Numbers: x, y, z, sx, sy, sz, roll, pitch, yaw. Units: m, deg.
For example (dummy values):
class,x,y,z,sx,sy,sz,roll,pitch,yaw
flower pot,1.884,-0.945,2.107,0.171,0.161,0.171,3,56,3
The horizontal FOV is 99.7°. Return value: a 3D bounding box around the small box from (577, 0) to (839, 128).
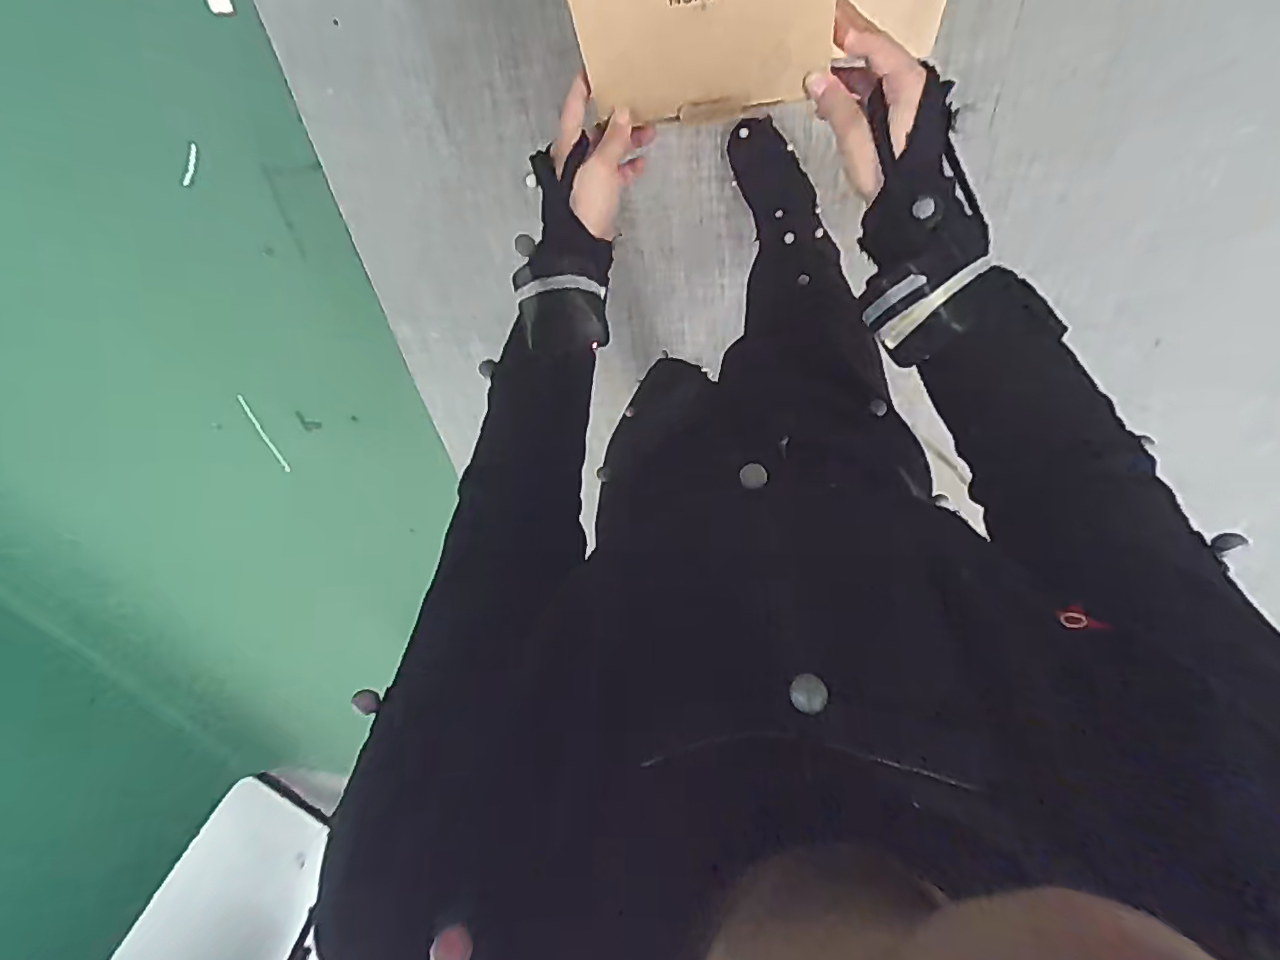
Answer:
class,x,y,z,sx,sy,sz,roll,pitch,yaw
small box,0.047,-0.379,0.357,0.168,0.176,0.179,0,151,14
